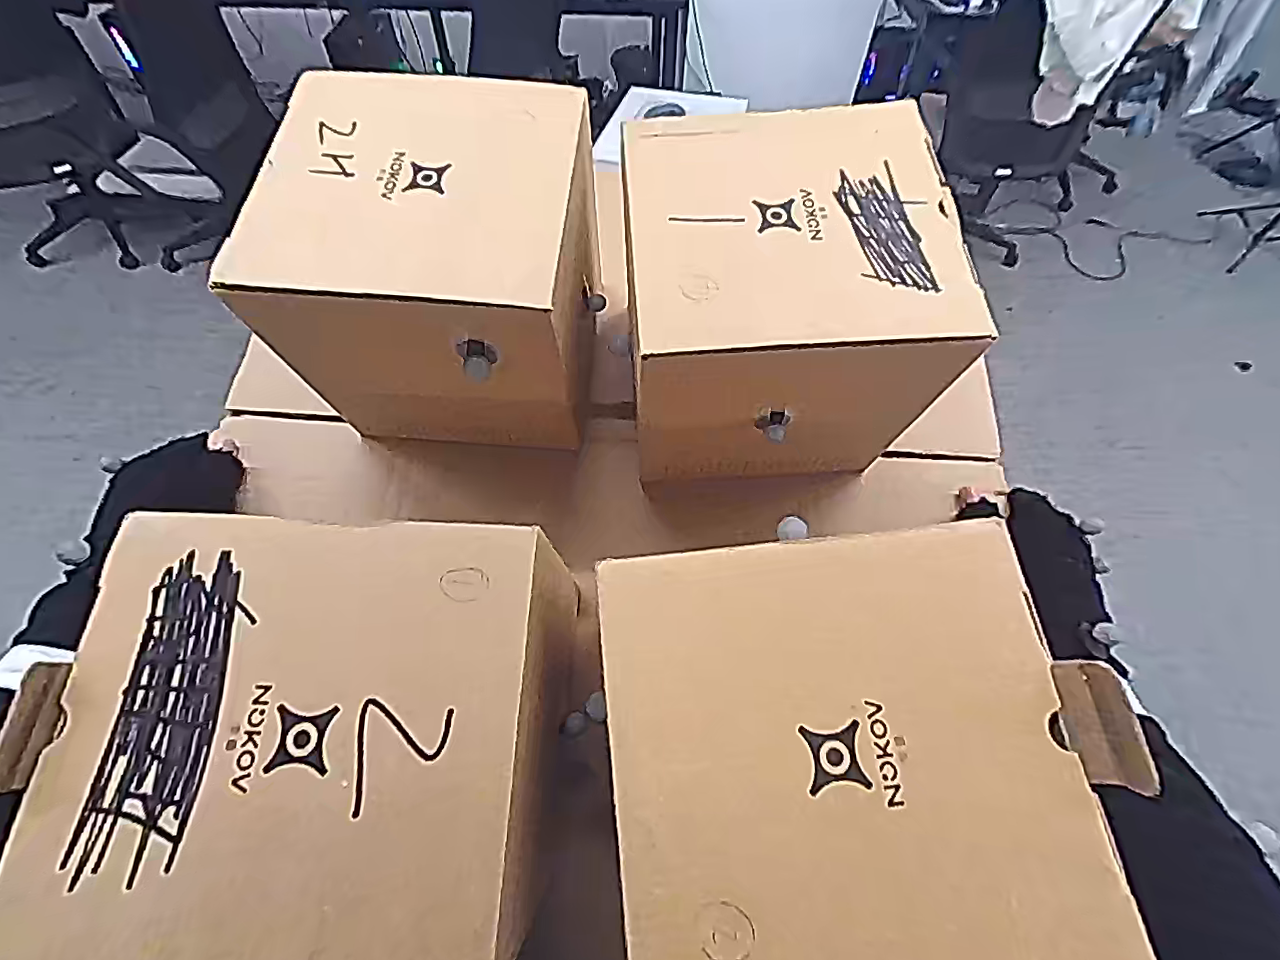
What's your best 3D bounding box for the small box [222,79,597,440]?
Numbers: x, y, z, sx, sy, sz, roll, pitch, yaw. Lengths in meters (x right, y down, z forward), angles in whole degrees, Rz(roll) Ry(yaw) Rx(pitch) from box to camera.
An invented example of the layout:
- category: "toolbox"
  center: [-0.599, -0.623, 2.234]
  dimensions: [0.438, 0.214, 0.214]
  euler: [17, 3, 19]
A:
- category: "small box"
  center: [-0.128, -0.139, 0.385]
  dimensions: [0.179, 0.176, 0.168]
  euler: [5, 68, 2]
